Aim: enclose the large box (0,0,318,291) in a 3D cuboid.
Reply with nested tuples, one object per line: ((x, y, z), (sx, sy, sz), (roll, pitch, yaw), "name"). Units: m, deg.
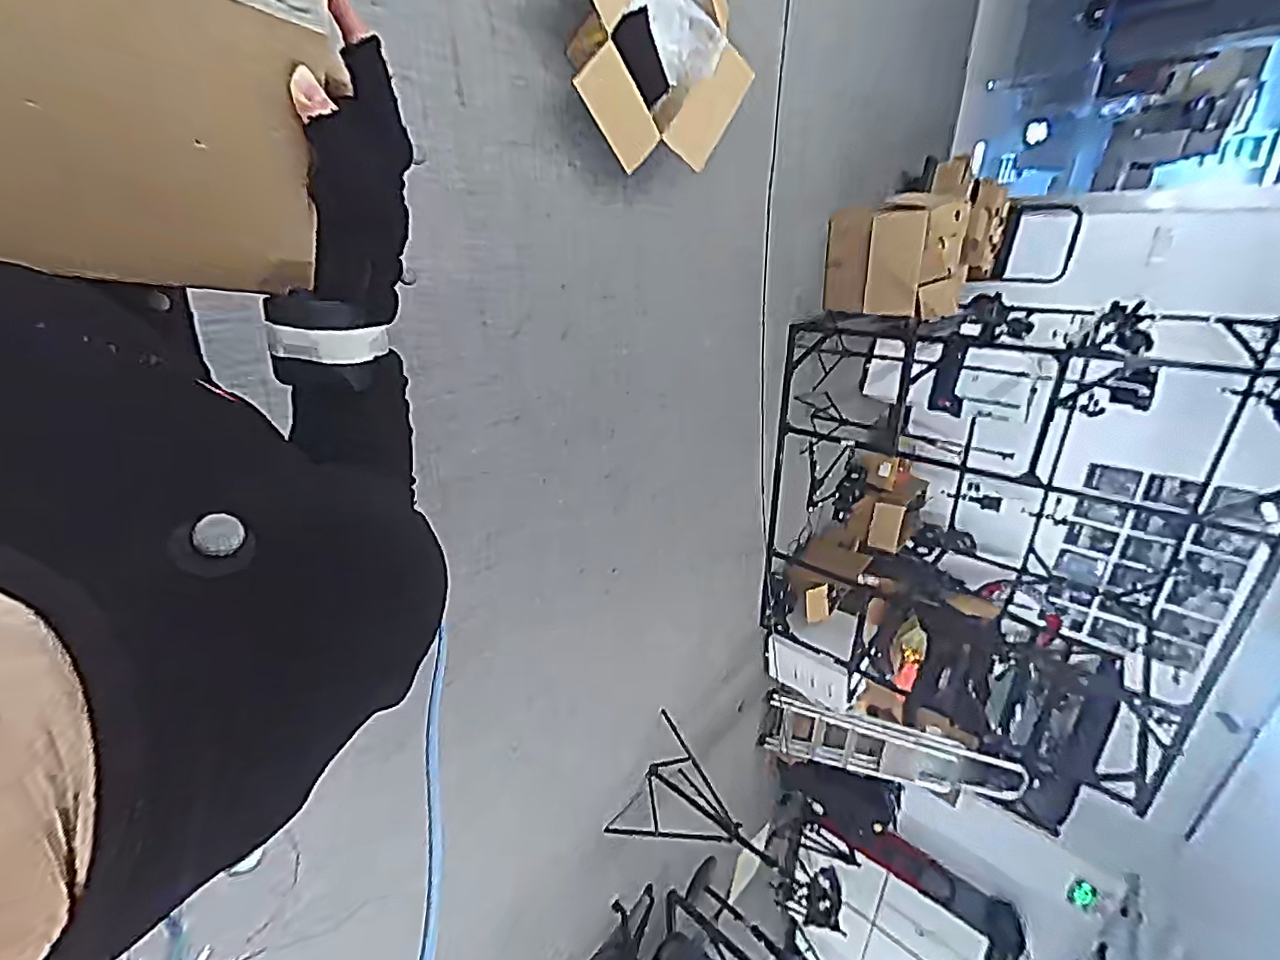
((-0.408, -0.310, 0.234), (0.408, 0.320, 0.320), (-11, 138, -43), "large box")
